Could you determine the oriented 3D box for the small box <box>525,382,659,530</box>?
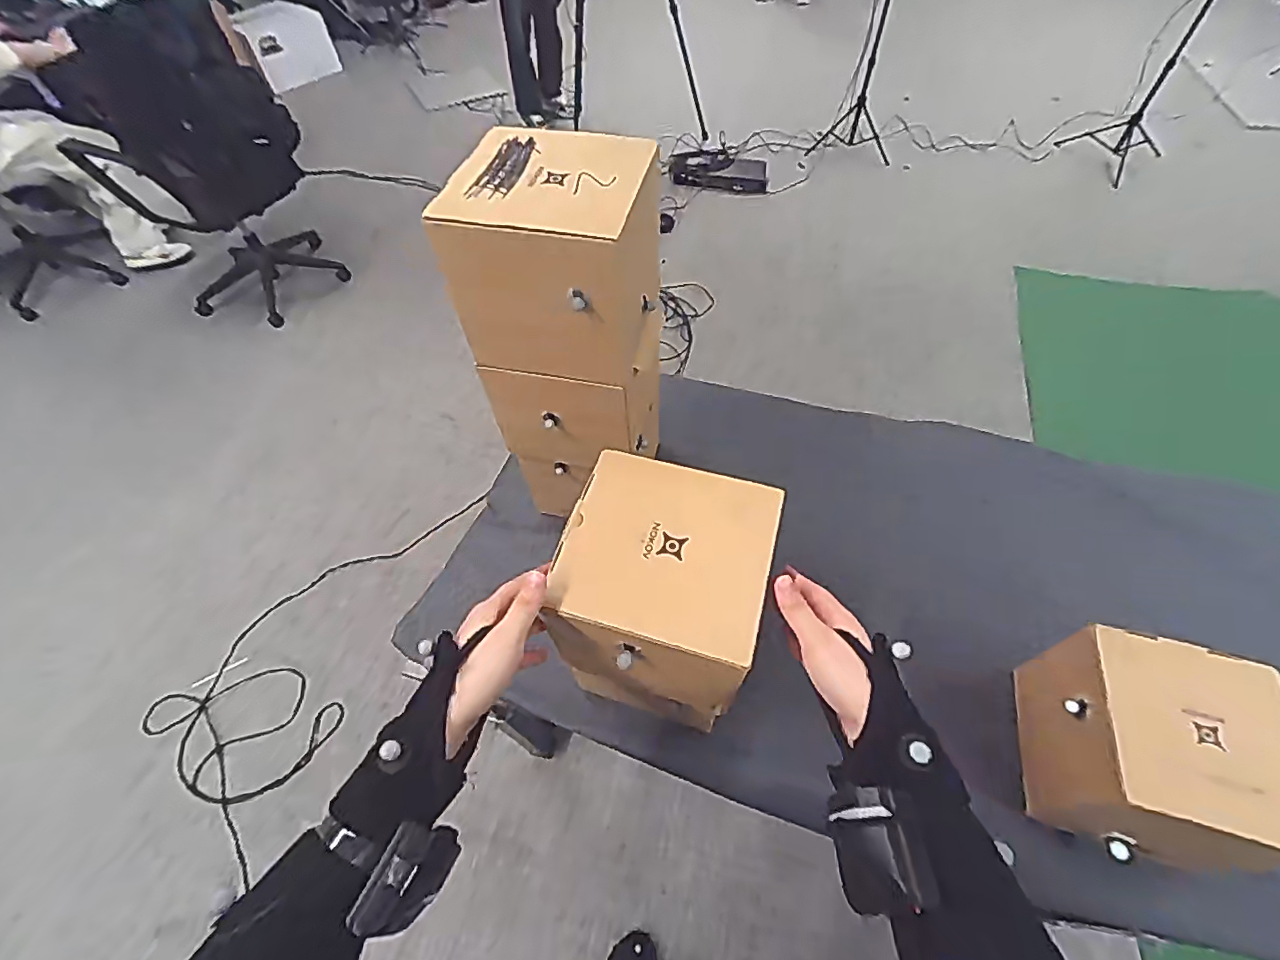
[{"bbox_3d":[-0.068,-0.046,0.836,0.168,0.176,0.179,9,56,9],"label":"small box"}]

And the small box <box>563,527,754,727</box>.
[{"bbox_3d":[0.028,0.186,0.664,0.179,0.176,0.168,14,56,13],"label":"small box"}]

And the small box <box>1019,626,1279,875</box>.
[{"bbox_3d":[0.531,0.284,0.567,0.168,0.176,0.179,12,55,12],"label":"small box"}]

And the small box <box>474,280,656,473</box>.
[{"bbox_3d":[-0.079,-0.126,0.692,0.179,0.176,0.168,9,57,10],"label":"small box"}]
